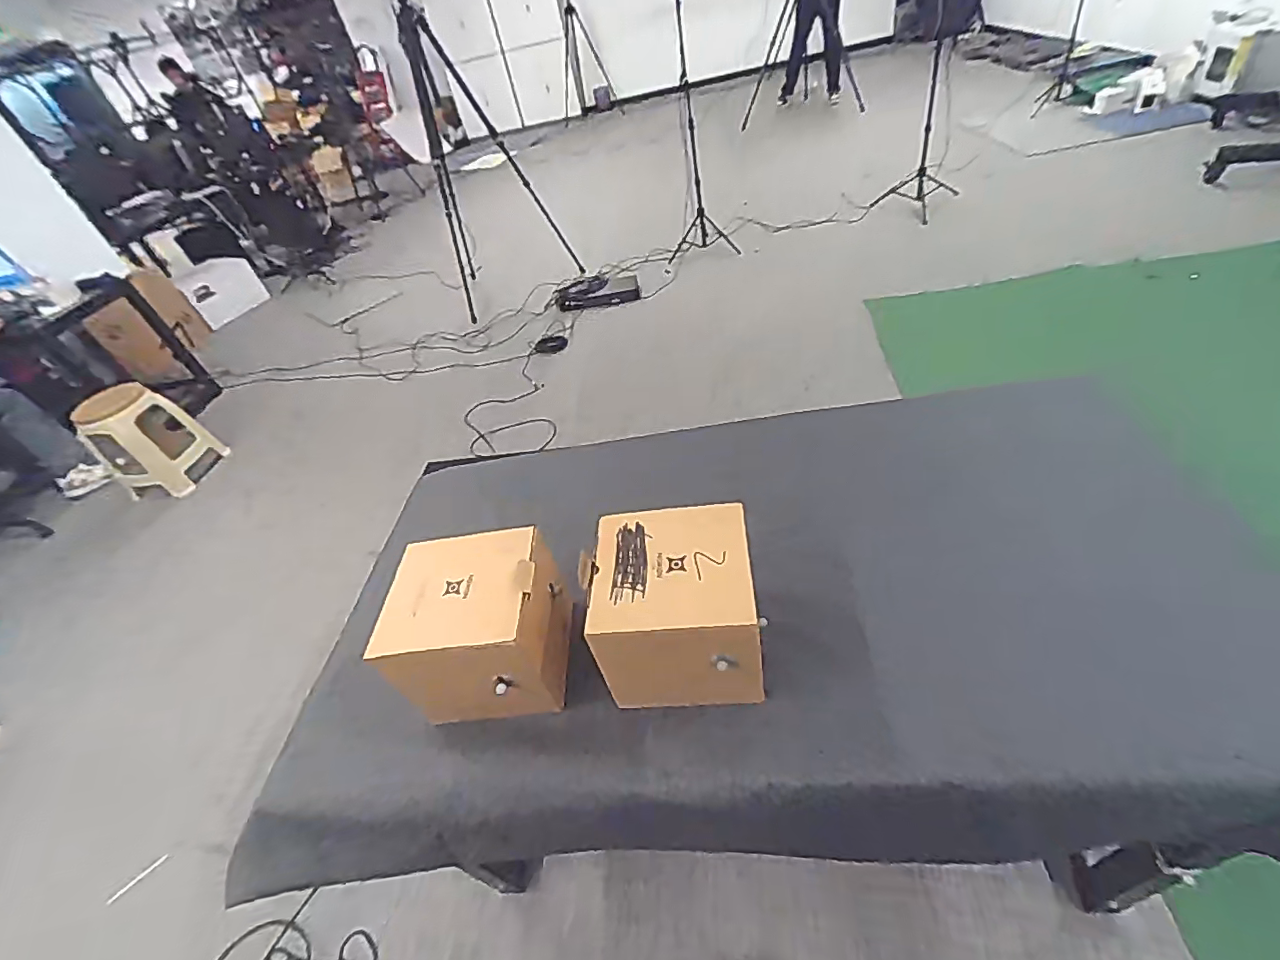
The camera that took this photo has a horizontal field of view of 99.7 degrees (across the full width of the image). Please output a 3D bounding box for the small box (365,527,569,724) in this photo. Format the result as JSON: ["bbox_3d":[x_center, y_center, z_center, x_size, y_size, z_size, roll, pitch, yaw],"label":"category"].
[{"bbox_3d":[-0.195,0.184,0.677,0.179,0.176,0.168,-10,41,6],"label":"small box"}]
